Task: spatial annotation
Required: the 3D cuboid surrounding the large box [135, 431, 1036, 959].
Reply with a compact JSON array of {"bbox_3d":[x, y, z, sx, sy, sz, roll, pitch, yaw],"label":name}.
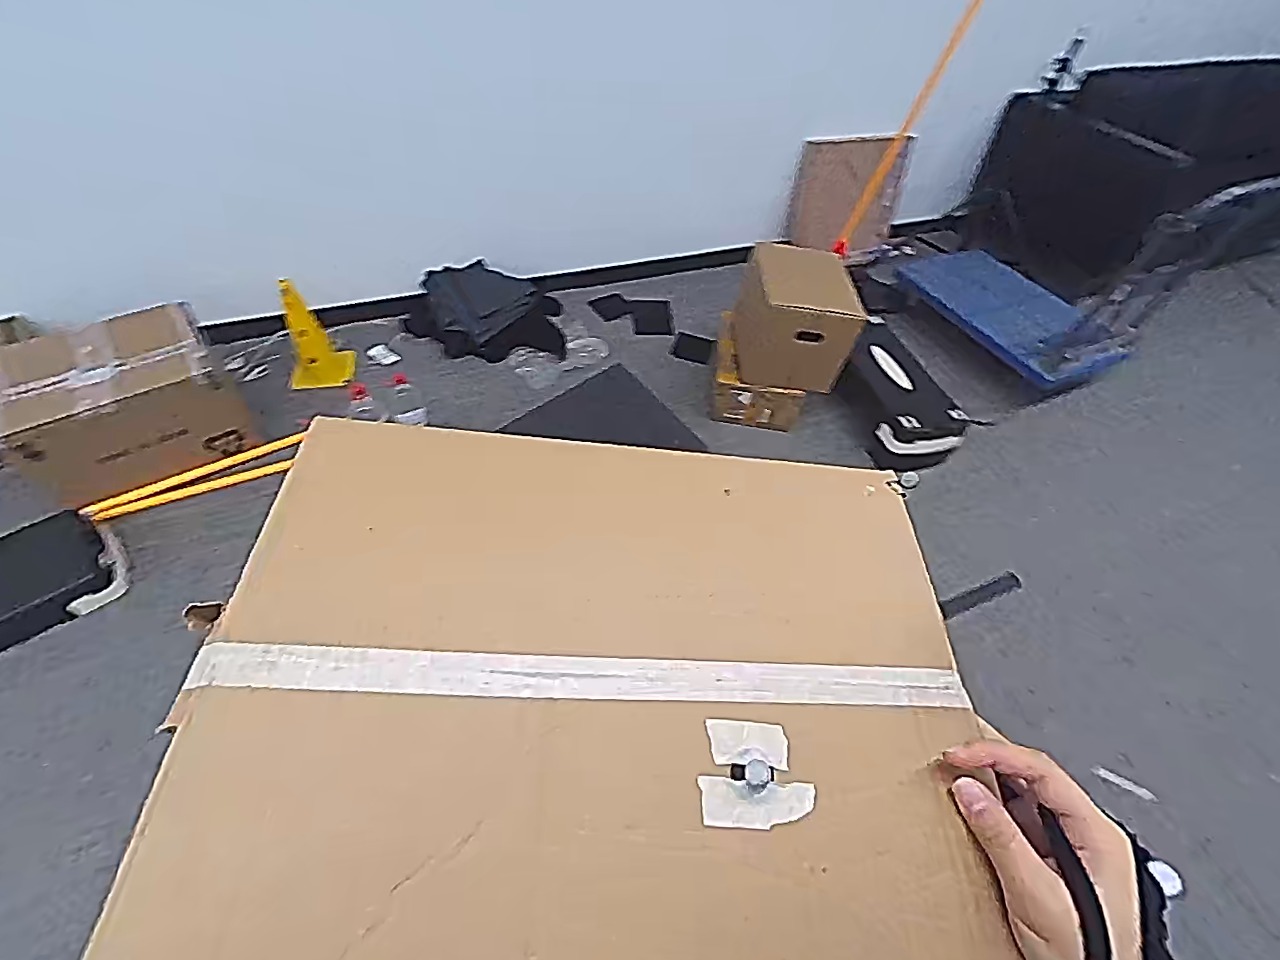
[{"bbox_3d":[-0.029,0.193,0.424,0.408,0.320,0.320,6,57,-8],"label":"large box"}]
